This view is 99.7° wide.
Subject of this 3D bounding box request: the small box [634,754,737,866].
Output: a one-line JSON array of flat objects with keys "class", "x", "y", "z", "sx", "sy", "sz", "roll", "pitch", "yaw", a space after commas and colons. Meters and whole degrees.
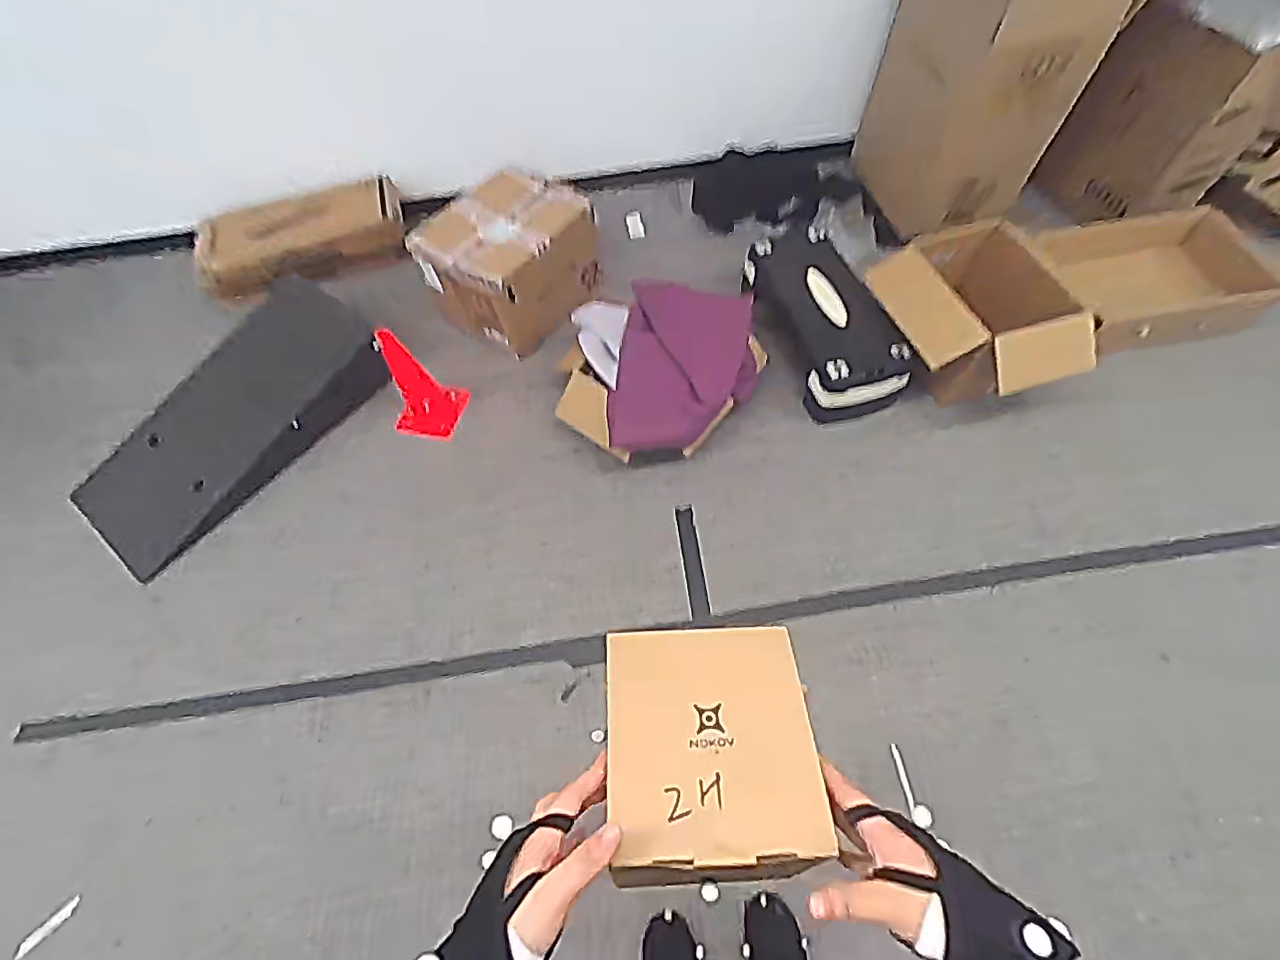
[{"class": "small box", "x": 0.092, "y": 0.684, "z": 1.127, "sx": 0.179, "sy": 0.176, "sz": 0.168, "roll": -11, "pitch": 60, "yaw": -3}]
